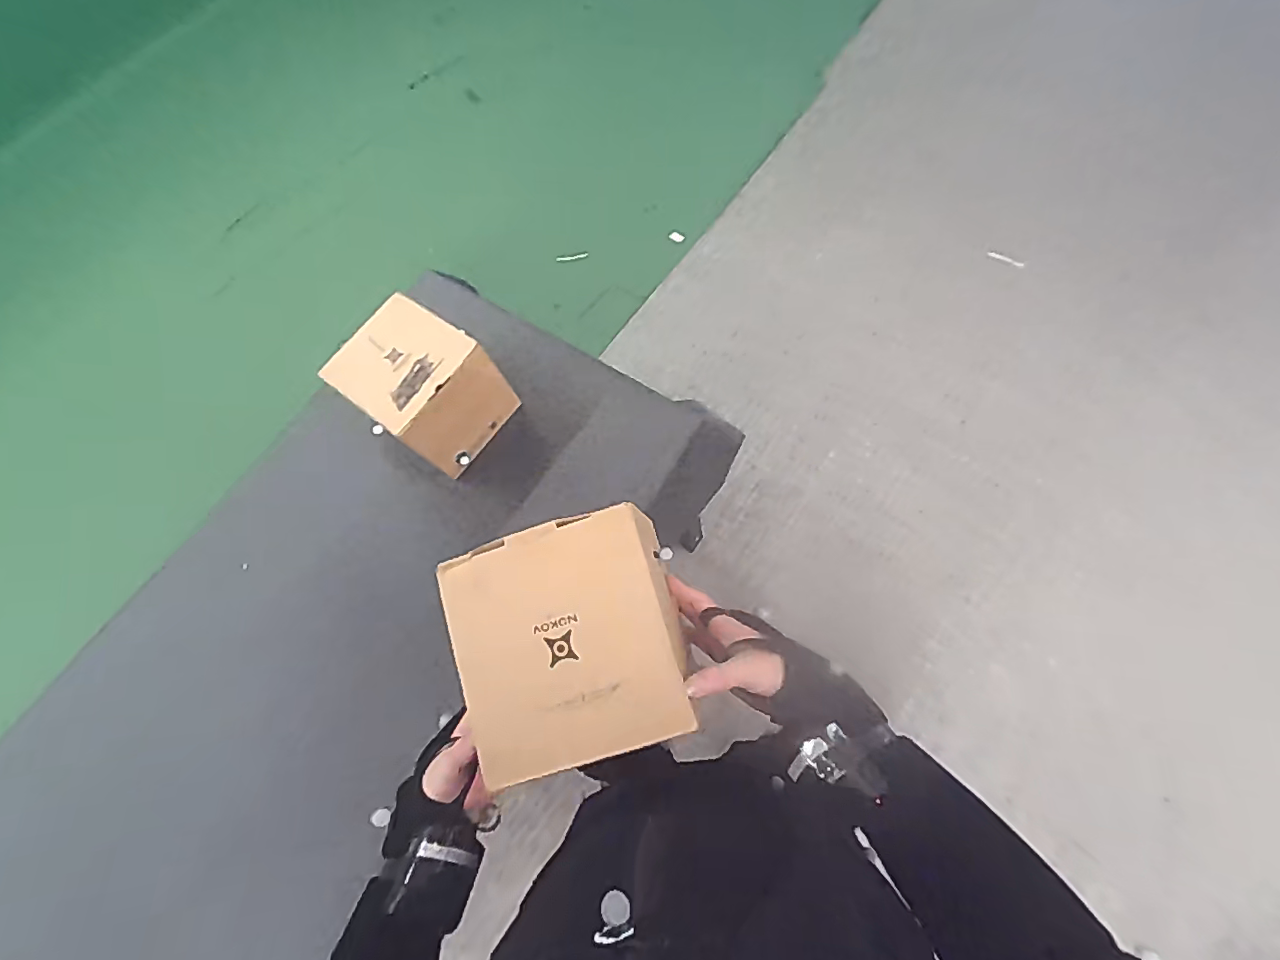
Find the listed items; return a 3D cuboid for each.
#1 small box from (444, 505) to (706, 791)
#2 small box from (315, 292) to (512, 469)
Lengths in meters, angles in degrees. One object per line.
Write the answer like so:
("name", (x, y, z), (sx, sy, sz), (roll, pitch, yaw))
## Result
("small box", (-0.045, 0.137, 0.483), (0.168, 0.176, 0.179), (-18, 79, 4))
("small box", (-0.323, -0.136, 0.810), (0.179, 0.176, 0.168), (33, 78, 18))
